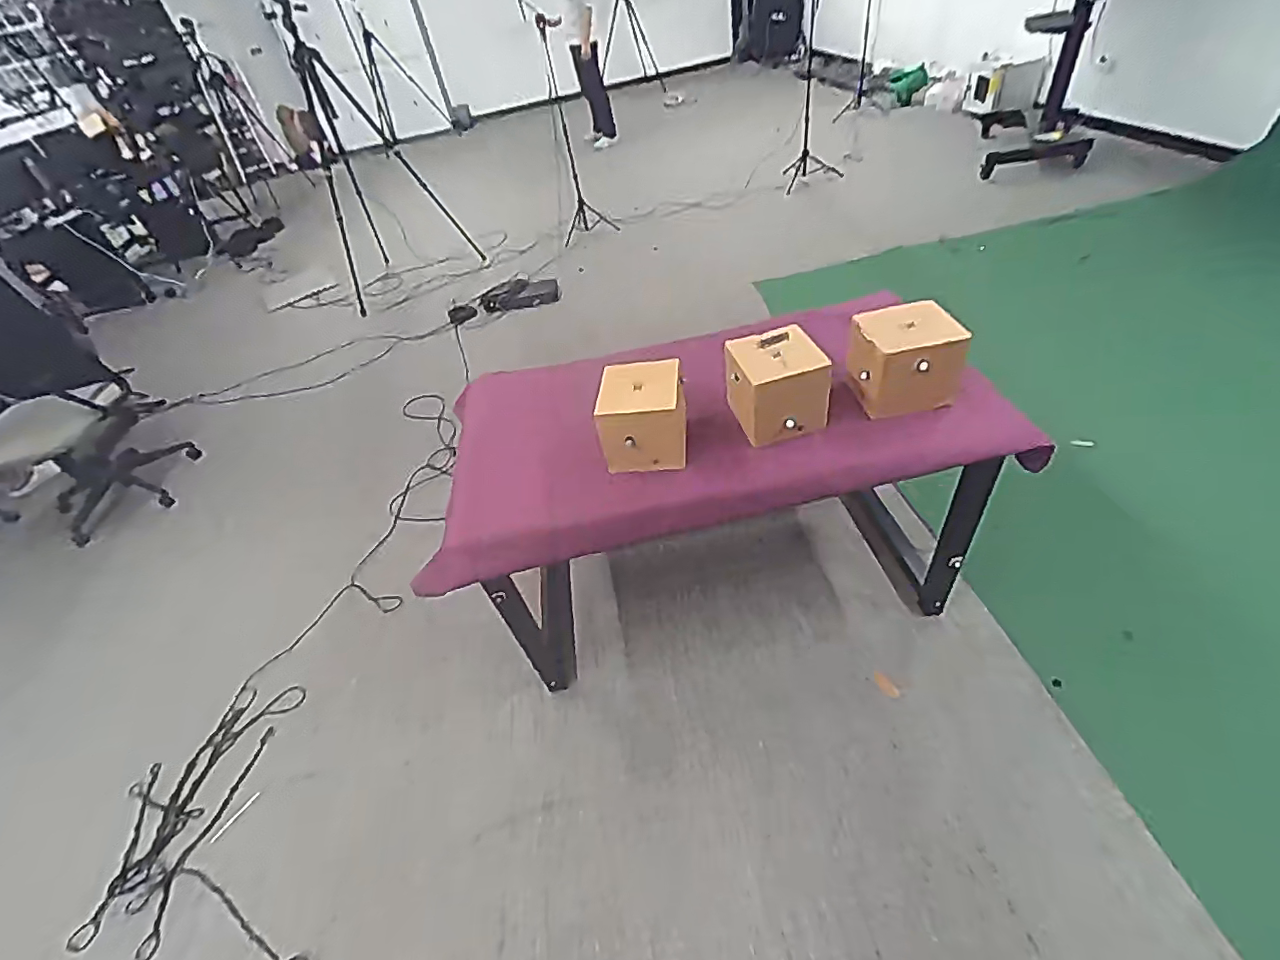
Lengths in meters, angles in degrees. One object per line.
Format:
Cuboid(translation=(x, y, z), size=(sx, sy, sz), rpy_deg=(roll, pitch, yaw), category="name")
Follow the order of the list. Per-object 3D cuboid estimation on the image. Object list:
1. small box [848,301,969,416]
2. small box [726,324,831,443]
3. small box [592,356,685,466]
Cuboid(translation=(0.556, -0.254, 1.153), size=(0.179, 0.176, 0.168), rpy_deg=(-10, 43, 3), category="small box")
Cuboid(translation=(0.290, -0.207, 1.165), size=(0.168, 0.176, 0.179), rpy_deg=(-15, 45, -2), category="small box")
Cuboid(translation=(0.006, -0.141, 1.163), size=(0.168, 0.176, 0.179), rpy_deg=(-3, 44, 10), category="small box")
